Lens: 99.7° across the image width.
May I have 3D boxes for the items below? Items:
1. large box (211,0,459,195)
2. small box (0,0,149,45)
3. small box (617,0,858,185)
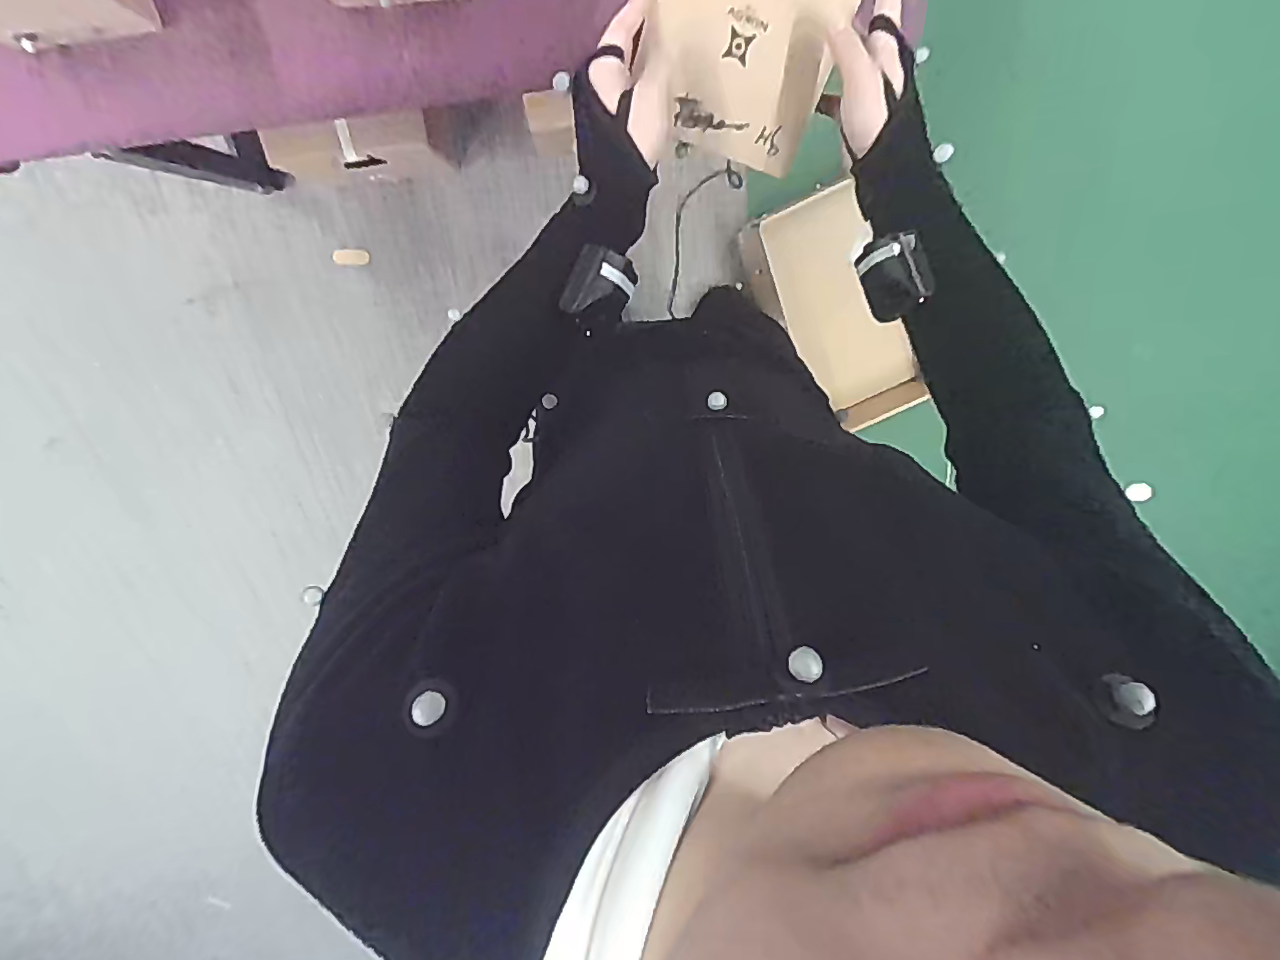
[{"bbox_3d":[-0.603,-0.851,1.114,0.320,0.320,0.408,-9,111,-4],"label":"large box"},{"bbox_3d":[-0.635,-0.548,0.512,0.168,0.176,0.179,-10,110,-3],"label":"small box"},{"bbox_3d":[0.079,-0.410,0.509,0.168,0.176,0.179,14,125,-11],"label":"small box"}]
